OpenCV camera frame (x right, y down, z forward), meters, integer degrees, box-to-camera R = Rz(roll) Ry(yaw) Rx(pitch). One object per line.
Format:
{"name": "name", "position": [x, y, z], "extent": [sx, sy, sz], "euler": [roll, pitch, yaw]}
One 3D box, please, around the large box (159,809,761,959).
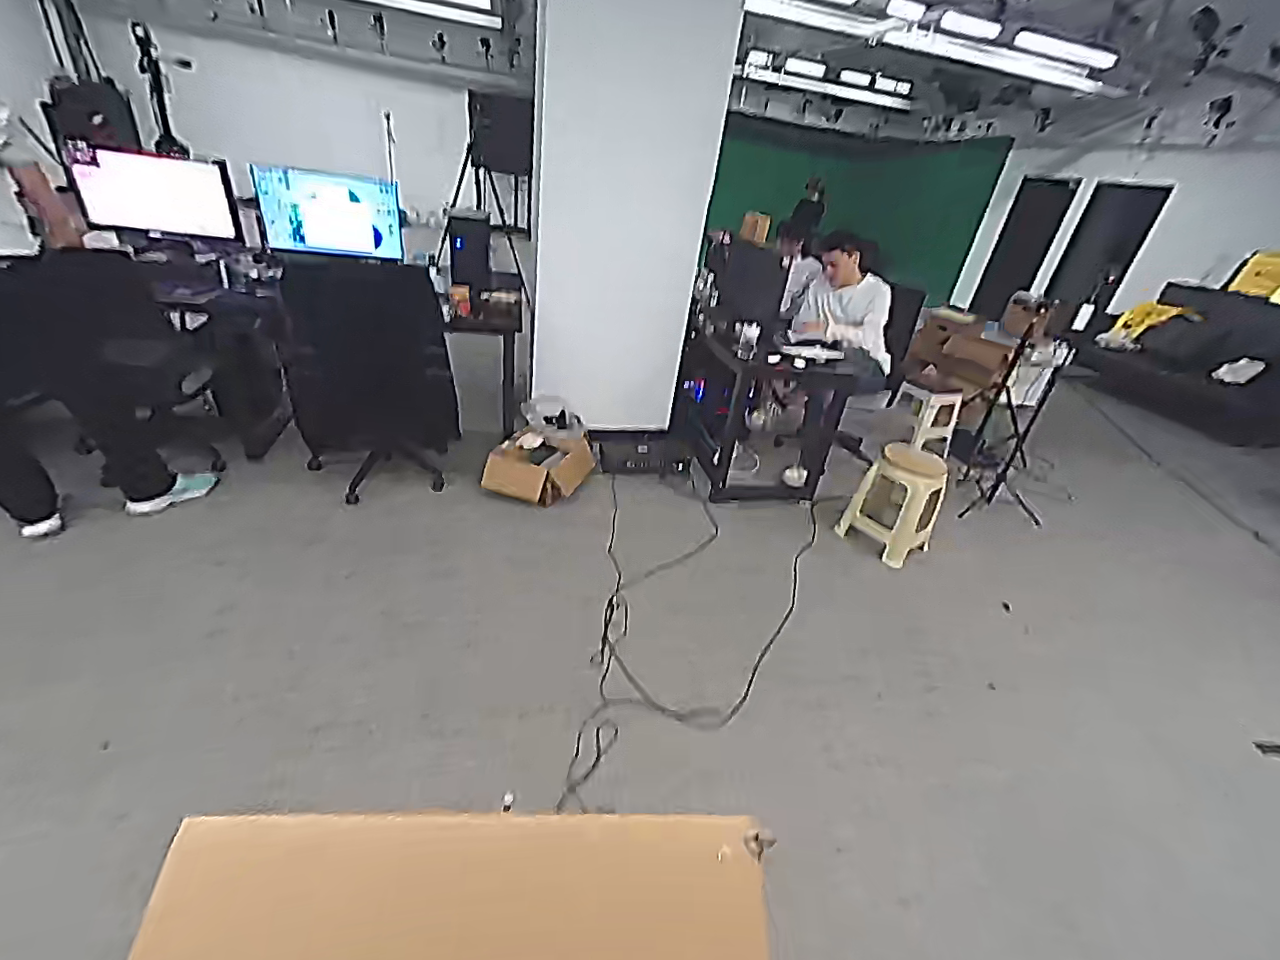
{"name": "large box", "position": [-0.130, 0.460, 0.453], "extent": [0.408, 0.320, 0.320], "euler": [4, 60, -6]}
